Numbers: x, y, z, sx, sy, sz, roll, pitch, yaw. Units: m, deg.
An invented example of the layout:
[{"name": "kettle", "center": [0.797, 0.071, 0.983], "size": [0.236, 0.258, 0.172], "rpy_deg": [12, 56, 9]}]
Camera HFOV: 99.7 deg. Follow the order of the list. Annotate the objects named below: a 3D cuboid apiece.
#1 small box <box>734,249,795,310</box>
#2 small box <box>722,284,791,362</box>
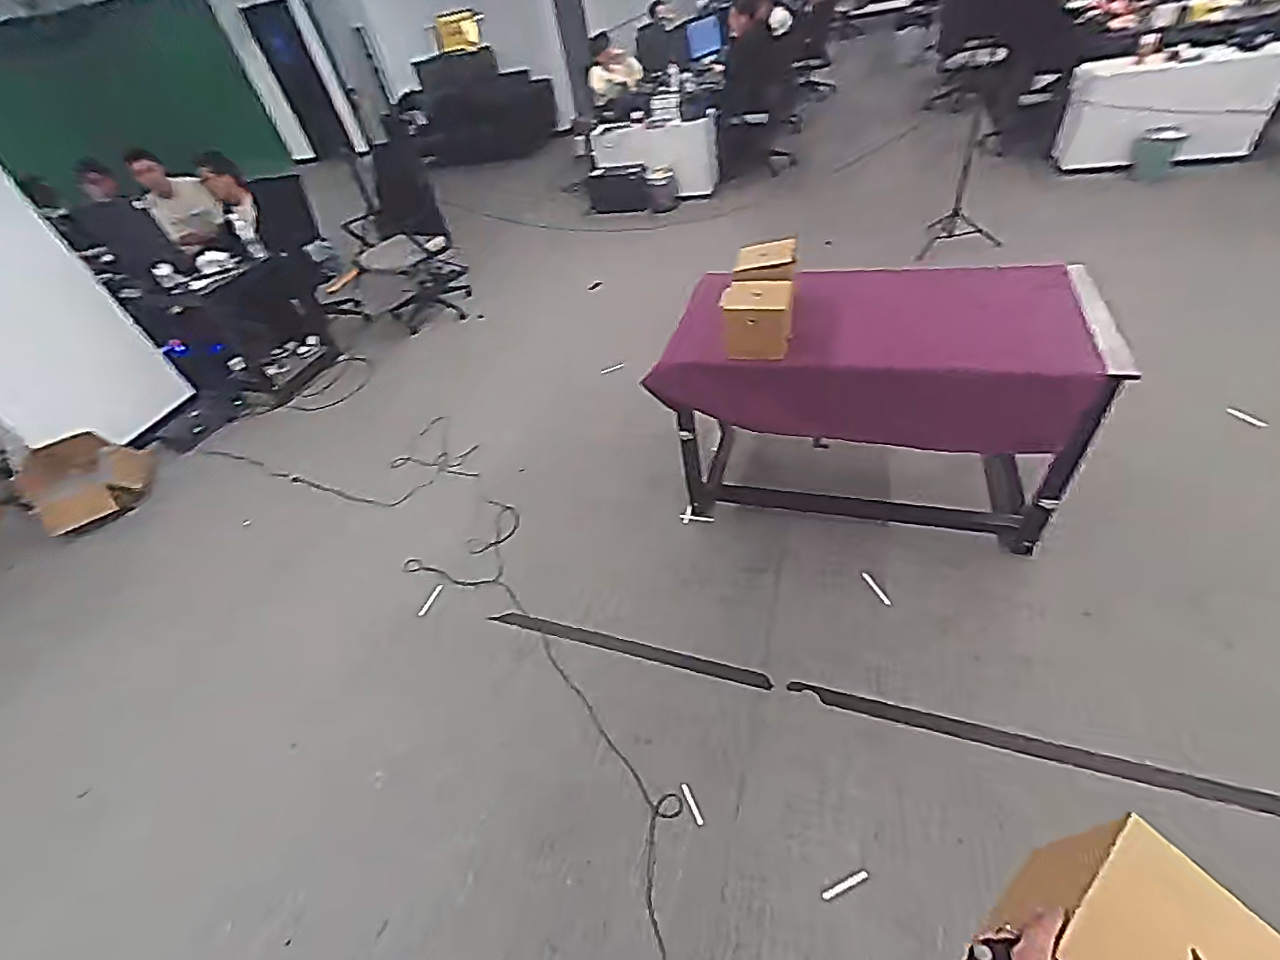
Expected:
[{"name": "small box", "center": [0.408, -0.635, 1.765], "size": [0.179, 0.176, 0.168], "rpy_deg": [5, 47, 17]}, {"name": "small box", "center": [0.349, -0.464, 1.604], "size": [0.179, 0.176, 0.168], "rpy_deg": [6, 47, 19]}]
